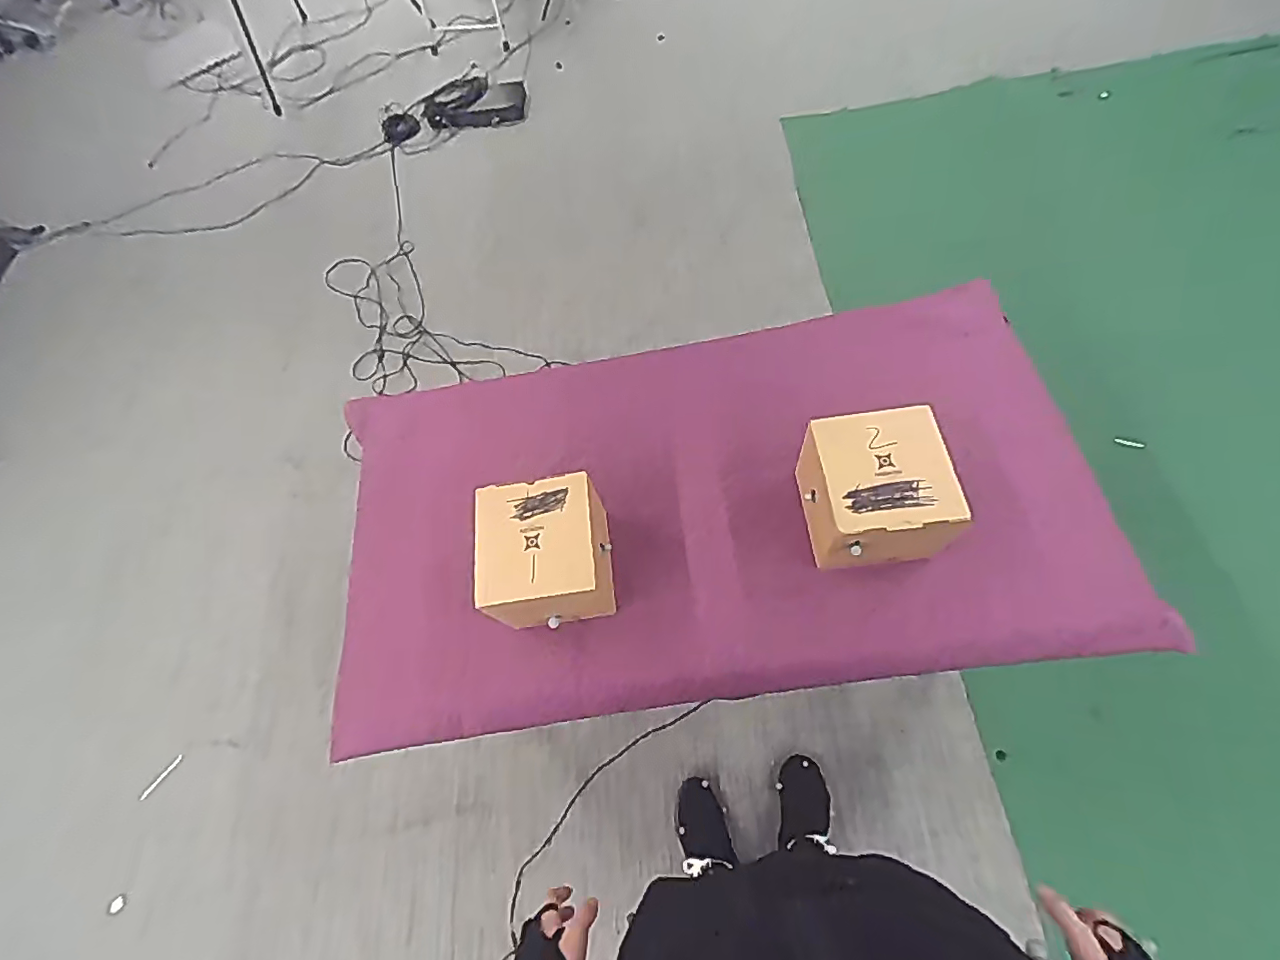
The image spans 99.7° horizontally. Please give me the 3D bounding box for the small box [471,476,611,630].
[{"bbox_3d":[-0.143,0.116,0.816,0.168,0.176,0.179,-9,65,3],"label":"small box"}]
